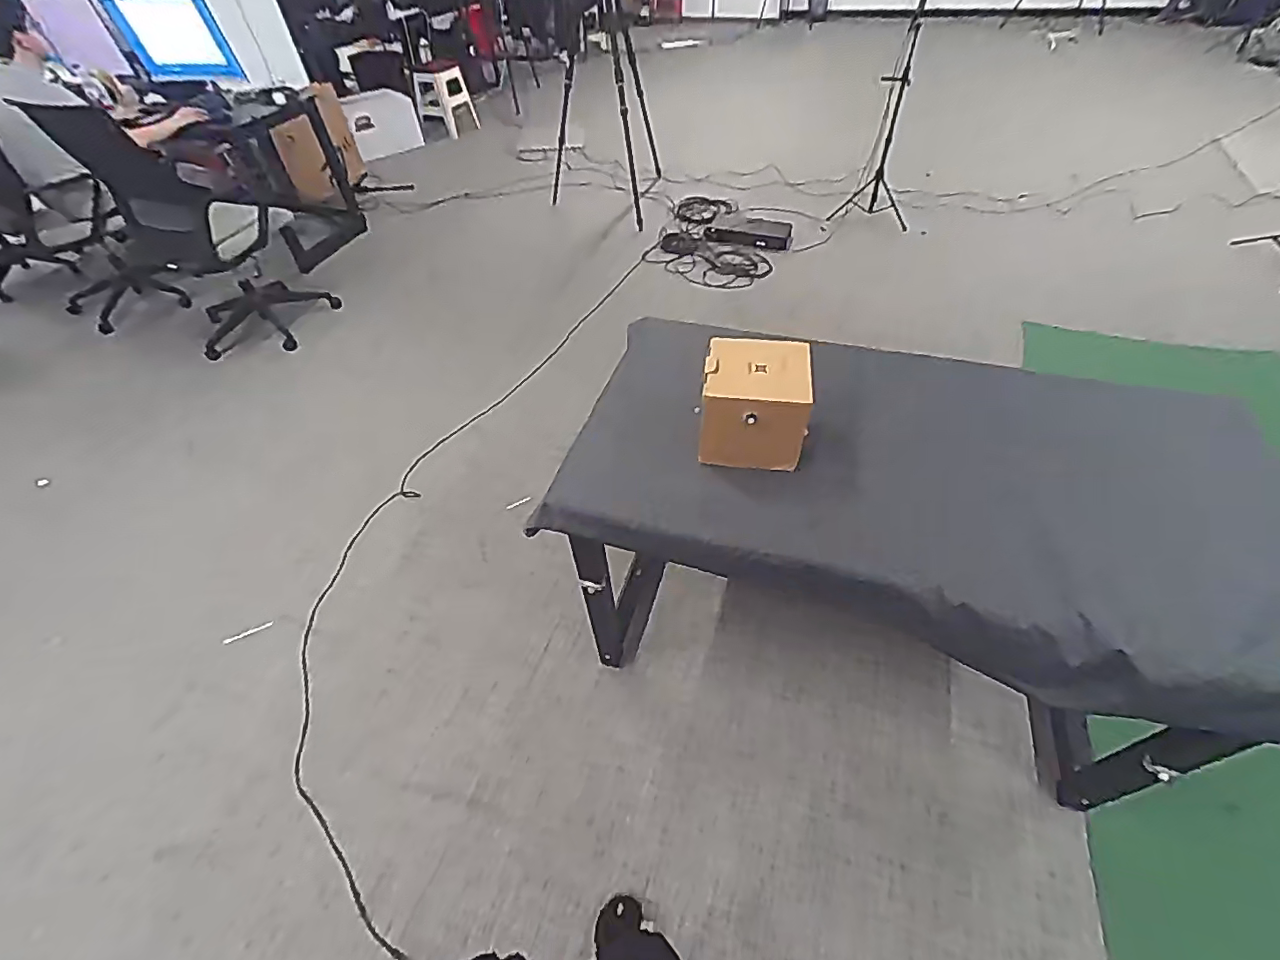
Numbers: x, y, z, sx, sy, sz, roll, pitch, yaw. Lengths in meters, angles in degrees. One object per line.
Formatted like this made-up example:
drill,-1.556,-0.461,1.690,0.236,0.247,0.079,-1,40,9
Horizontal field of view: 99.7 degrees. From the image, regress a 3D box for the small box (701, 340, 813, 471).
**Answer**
small box,0.206,-0.132,0.979,0.179,0.176,0.168,6,51,7
